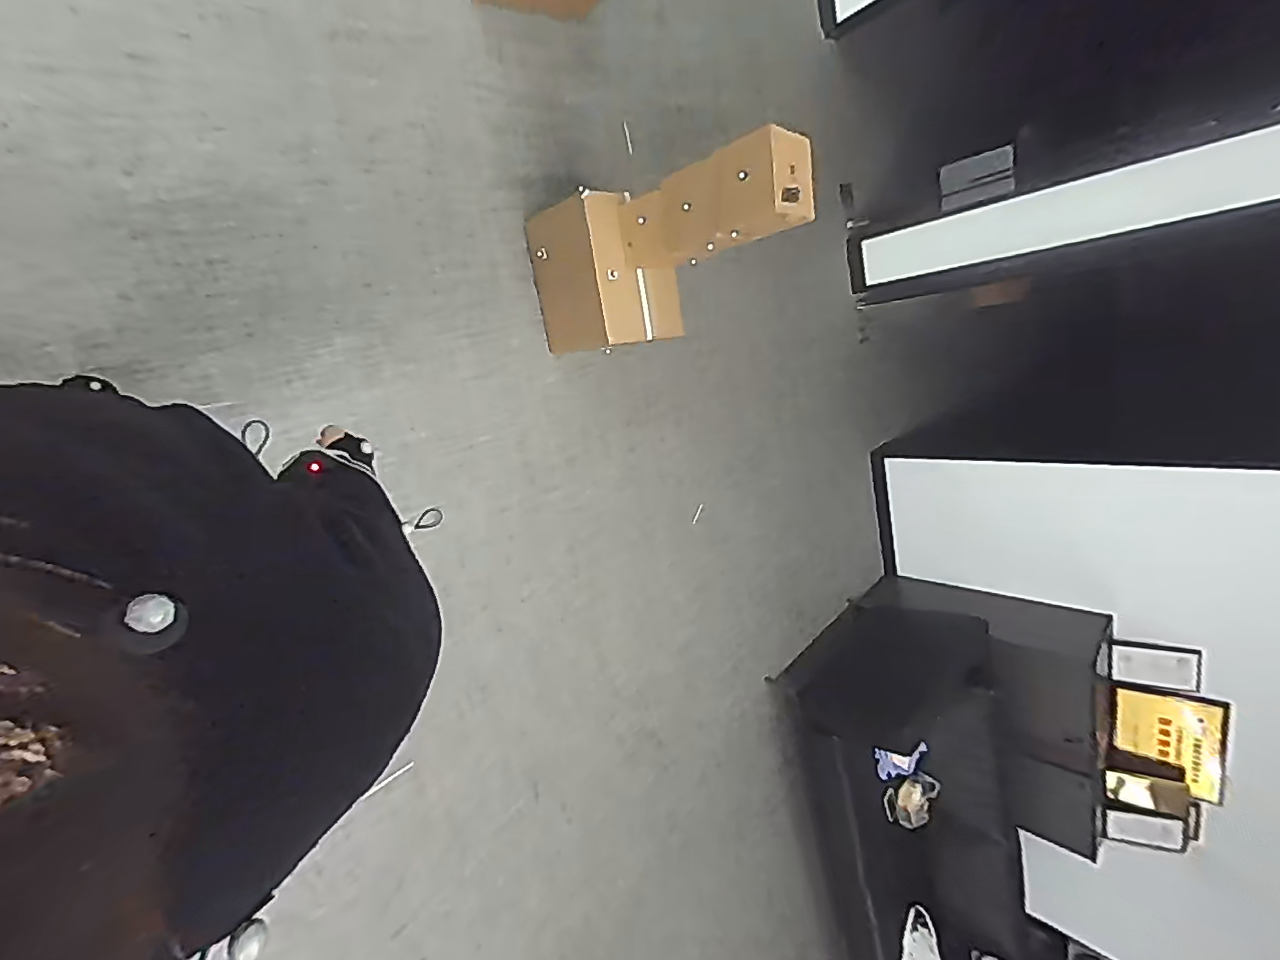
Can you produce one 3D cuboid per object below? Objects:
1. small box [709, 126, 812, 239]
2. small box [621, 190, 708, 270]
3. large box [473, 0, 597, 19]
[{"bbox_3d":[0.278,-0.676,1.257,0.168,0.176,0.179,-16,102,-41],"label":"small box"},{"bbox_3d":[0.063,-0.688,1.506,0.179,0.176,0.168,-21,108,-40],"label":"small box"},{"bbox_3d":[-0.273,-1.532,1.462,0.408,0.320,0.320,-29,112,-37],"label":"large box"}]
